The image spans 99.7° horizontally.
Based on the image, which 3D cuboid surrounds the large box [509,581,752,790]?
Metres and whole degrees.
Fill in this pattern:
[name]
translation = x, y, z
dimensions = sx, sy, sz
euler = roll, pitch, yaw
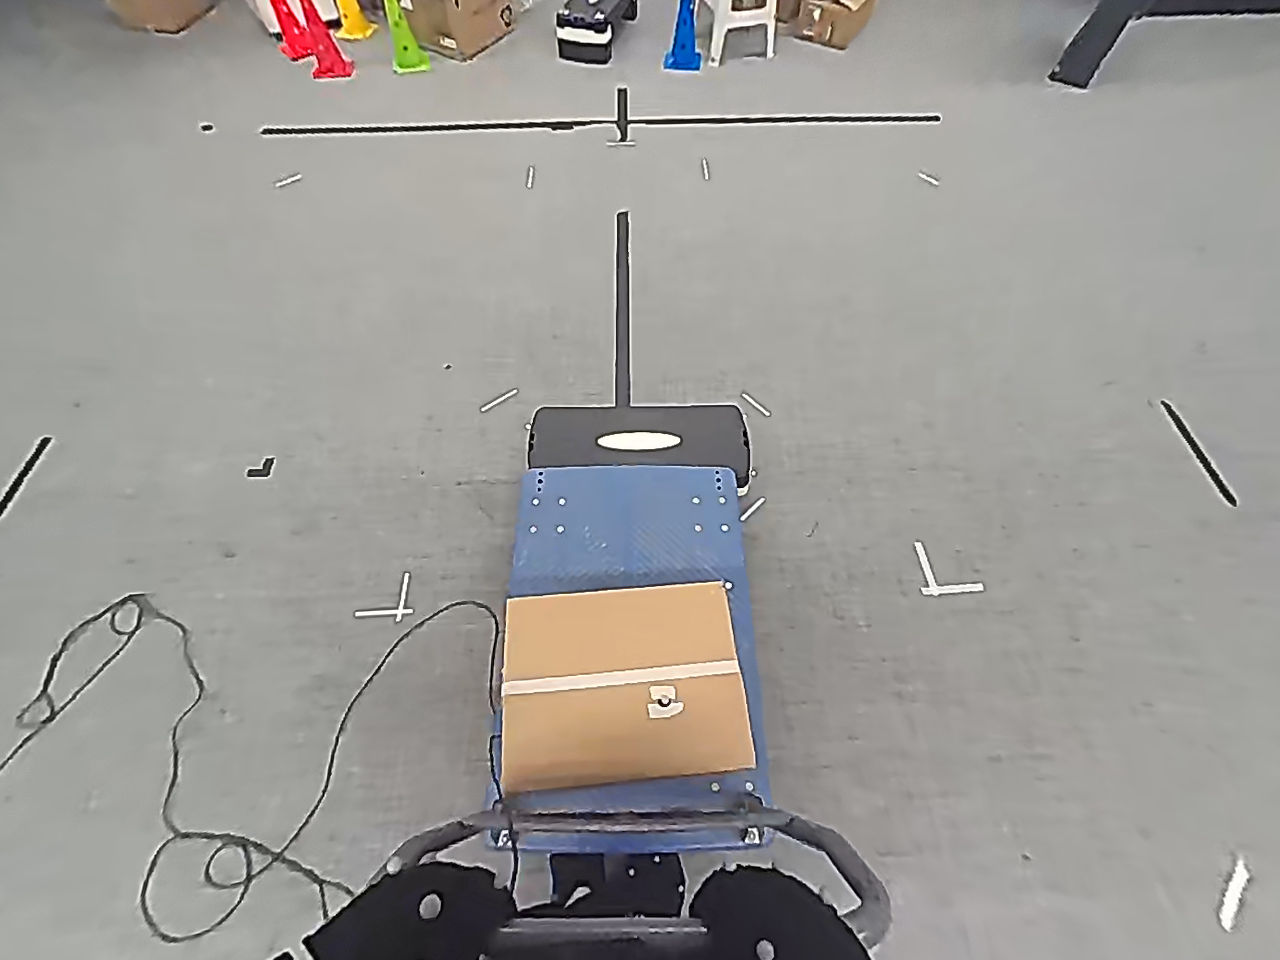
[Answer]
[large box]
translation = -0.032, 0.415, 1.072
dimensions = 0.408, 0.320, 0.320
euler = -4, 61, -4
